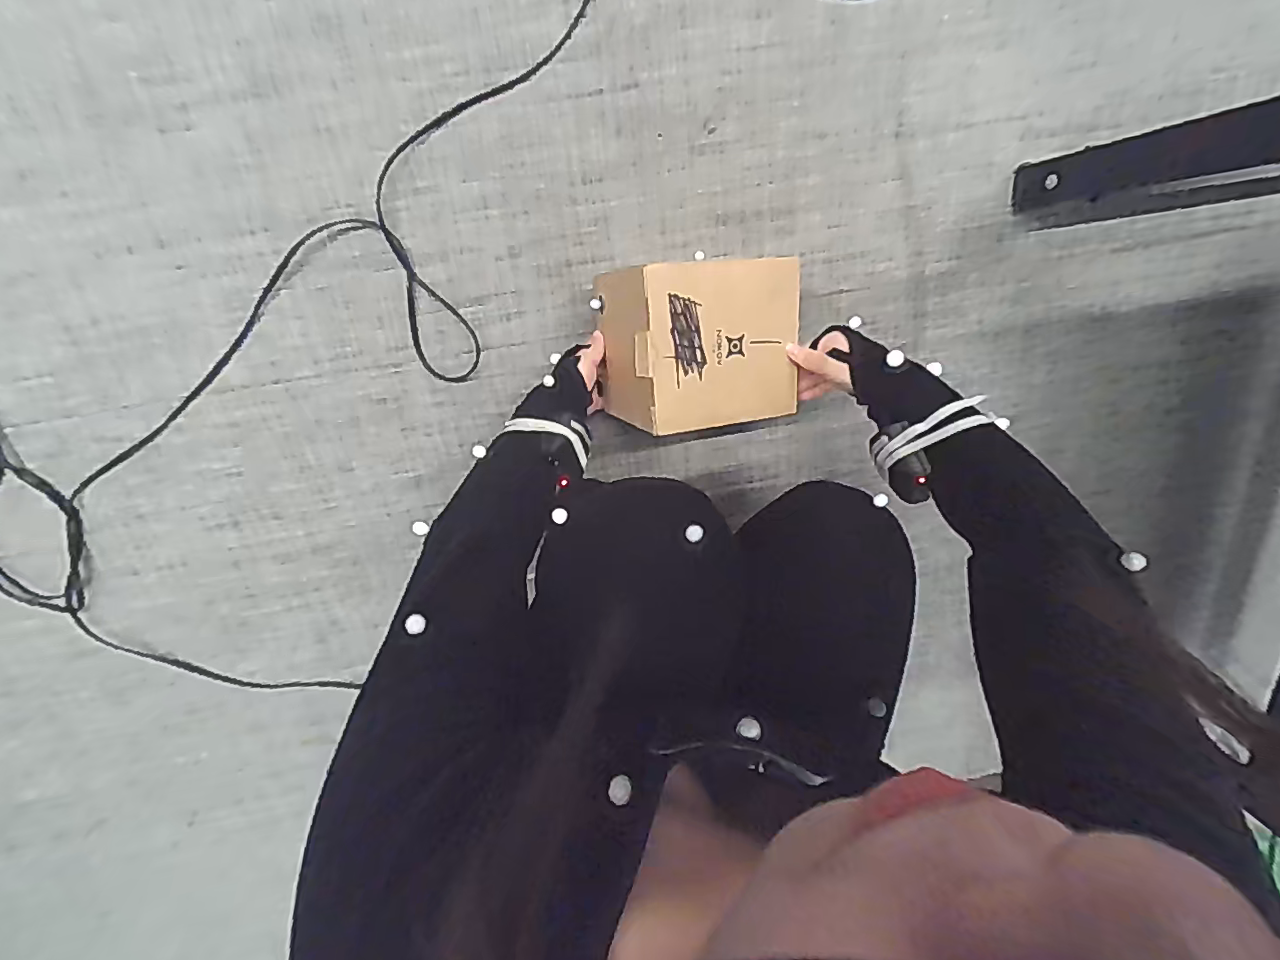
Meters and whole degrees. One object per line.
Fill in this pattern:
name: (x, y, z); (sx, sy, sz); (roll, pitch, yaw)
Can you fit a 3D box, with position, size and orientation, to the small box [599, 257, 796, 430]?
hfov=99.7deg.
small box: (0.057, -0.160, 0.626); (0.179, 0.176, 0.168); (-11, 109, -20)
